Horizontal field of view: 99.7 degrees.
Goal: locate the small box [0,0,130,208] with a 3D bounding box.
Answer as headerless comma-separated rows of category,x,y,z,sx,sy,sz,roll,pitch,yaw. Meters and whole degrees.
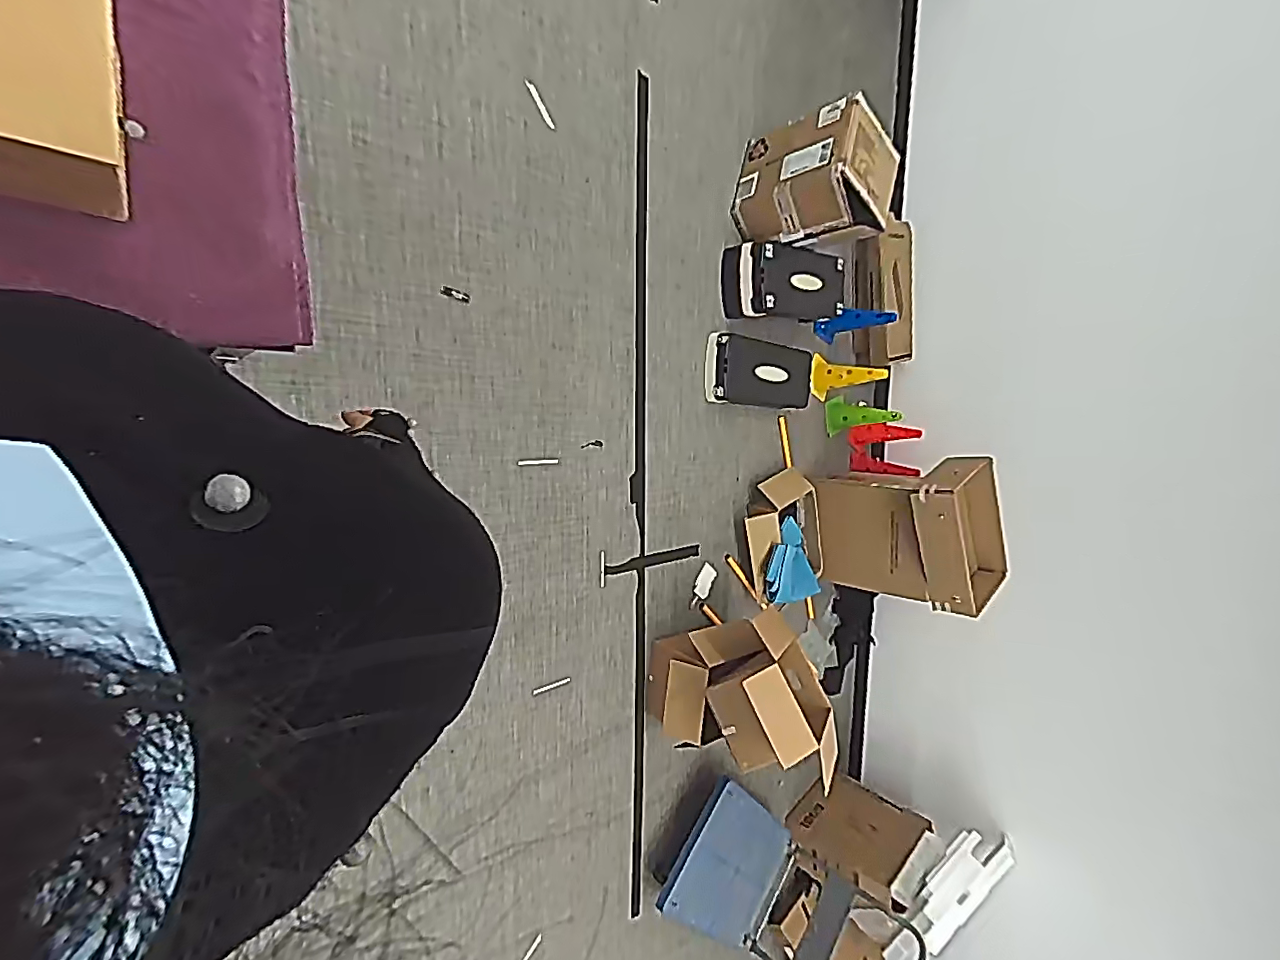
small box,-0.537,-0.344,0.439,0.179,0.176,0.168,-2,97,-41
